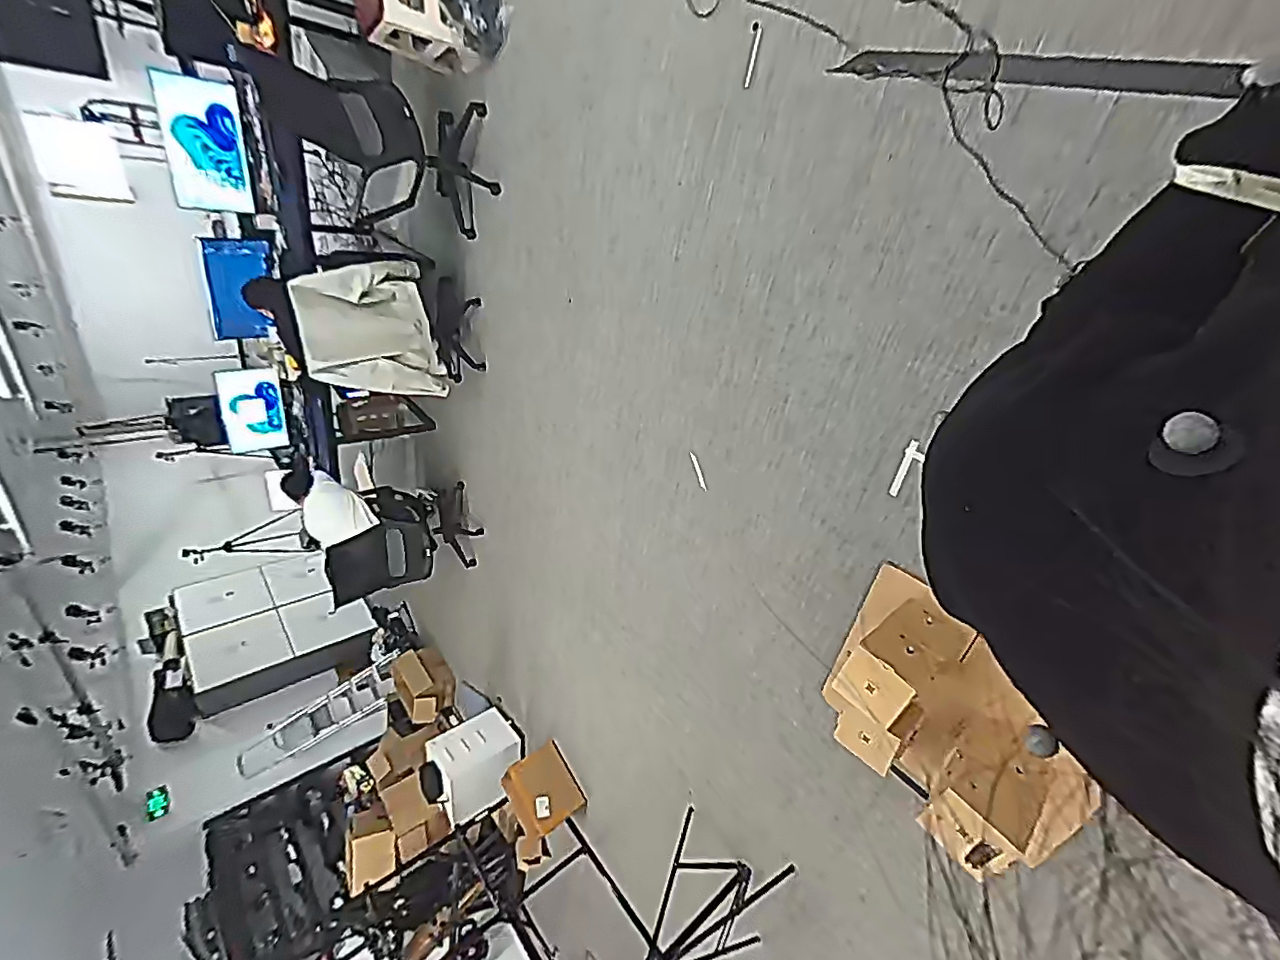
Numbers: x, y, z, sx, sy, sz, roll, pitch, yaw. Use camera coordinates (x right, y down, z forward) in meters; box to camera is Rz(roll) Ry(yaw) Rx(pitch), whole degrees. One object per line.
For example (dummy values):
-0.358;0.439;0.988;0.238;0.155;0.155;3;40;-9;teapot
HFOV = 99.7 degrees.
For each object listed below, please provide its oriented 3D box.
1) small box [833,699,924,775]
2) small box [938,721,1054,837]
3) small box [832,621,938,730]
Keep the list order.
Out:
0.732;0.749;1.660;0.179;0.176;0.168;32;126;40;small box
0.940;0.781;1.424;0.179;0.176;0.168;43;131;30;small box
0.646;0.507;1.420;0.168;0.176;0.179;39;128;34;small box
